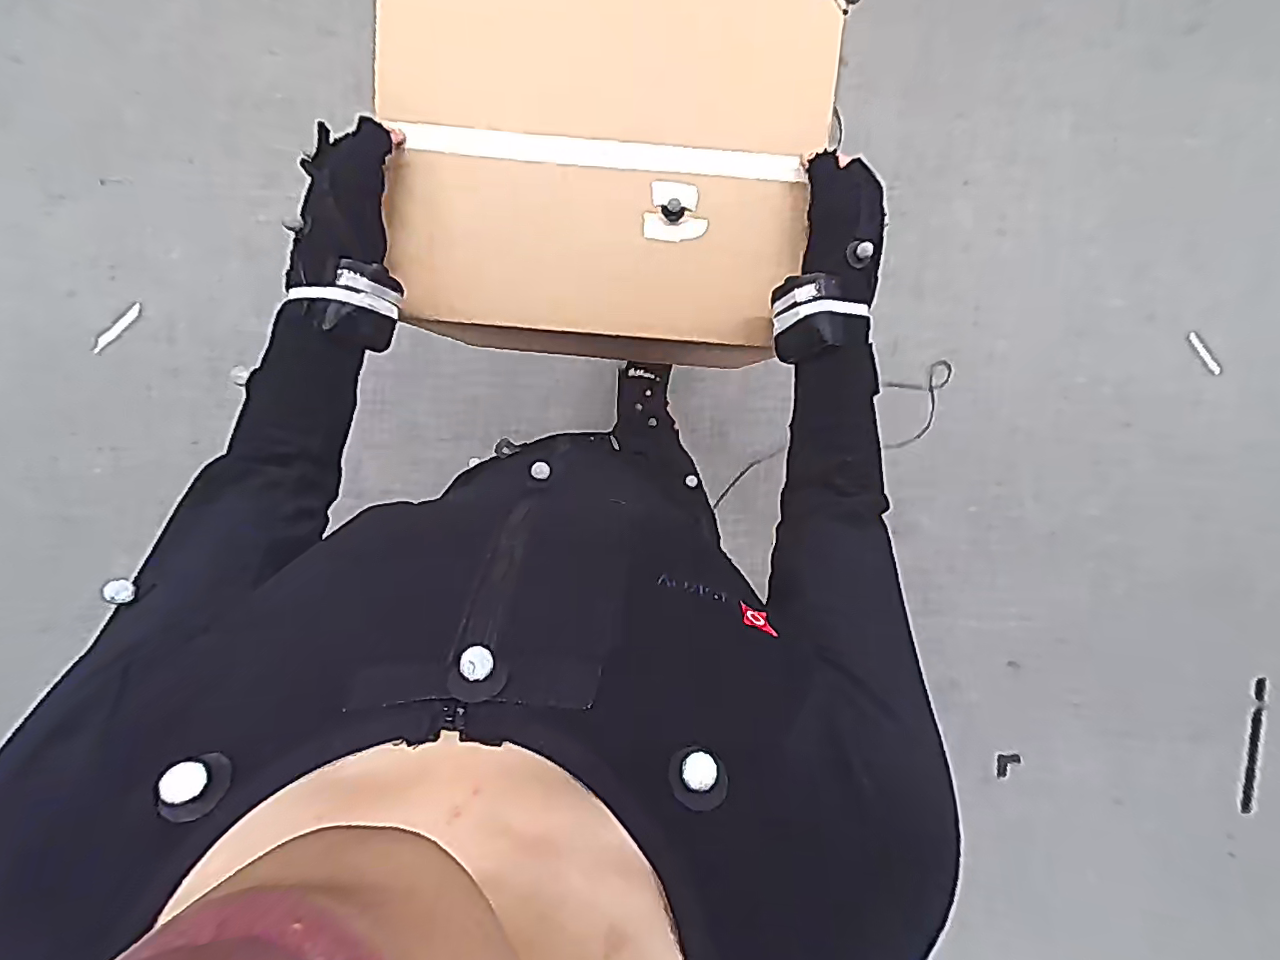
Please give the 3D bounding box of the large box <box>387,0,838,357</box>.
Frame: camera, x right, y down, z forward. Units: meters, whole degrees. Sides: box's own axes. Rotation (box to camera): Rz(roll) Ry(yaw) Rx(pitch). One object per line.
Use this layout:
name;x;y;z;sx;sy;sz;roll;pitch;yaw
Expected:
large box;-0.036;-0.325;0.640;0.408;0.320;0.320;4;99;-2
